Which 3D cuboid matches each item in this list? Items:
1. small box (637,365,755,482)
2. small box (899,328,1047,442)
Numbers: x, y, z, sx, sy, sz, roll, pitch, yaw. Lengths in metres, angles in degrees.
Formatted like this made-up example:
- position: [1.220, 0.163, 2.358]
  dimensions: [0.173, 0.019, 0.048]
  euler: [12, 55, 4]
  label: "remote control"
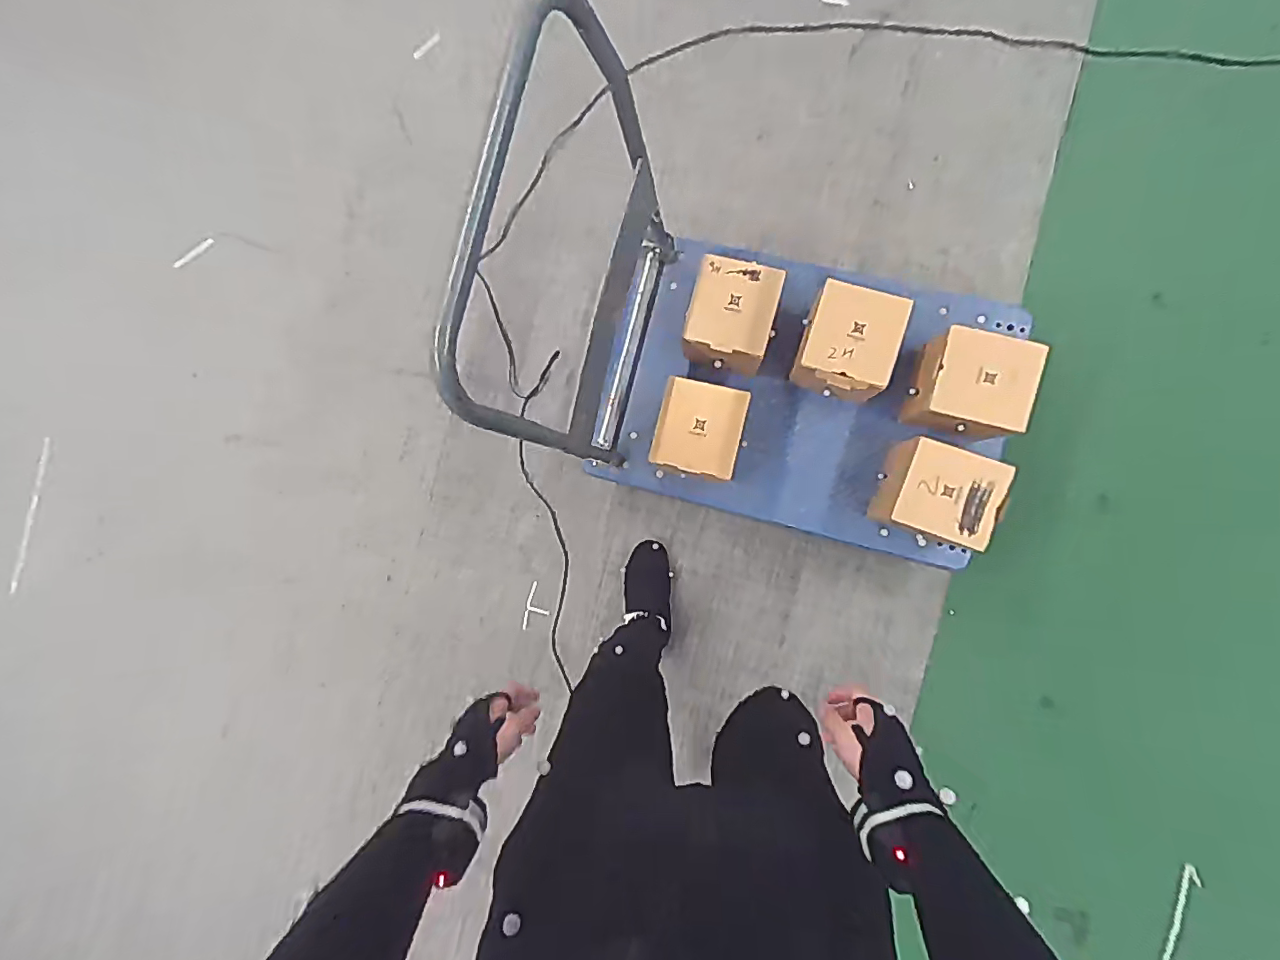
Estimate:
- position: [0.118, -0.107, 1.135]
  dimensions: [0.168, 0.176, 0.179]
  euler: [-45, 83, 5]
  label: "small box"
- position: [0.643, -0.179, 1.070]
  dimensions: [0.179, 0.176, 0.168]
  euler: [17, 91, 7]
  label: "small box"
